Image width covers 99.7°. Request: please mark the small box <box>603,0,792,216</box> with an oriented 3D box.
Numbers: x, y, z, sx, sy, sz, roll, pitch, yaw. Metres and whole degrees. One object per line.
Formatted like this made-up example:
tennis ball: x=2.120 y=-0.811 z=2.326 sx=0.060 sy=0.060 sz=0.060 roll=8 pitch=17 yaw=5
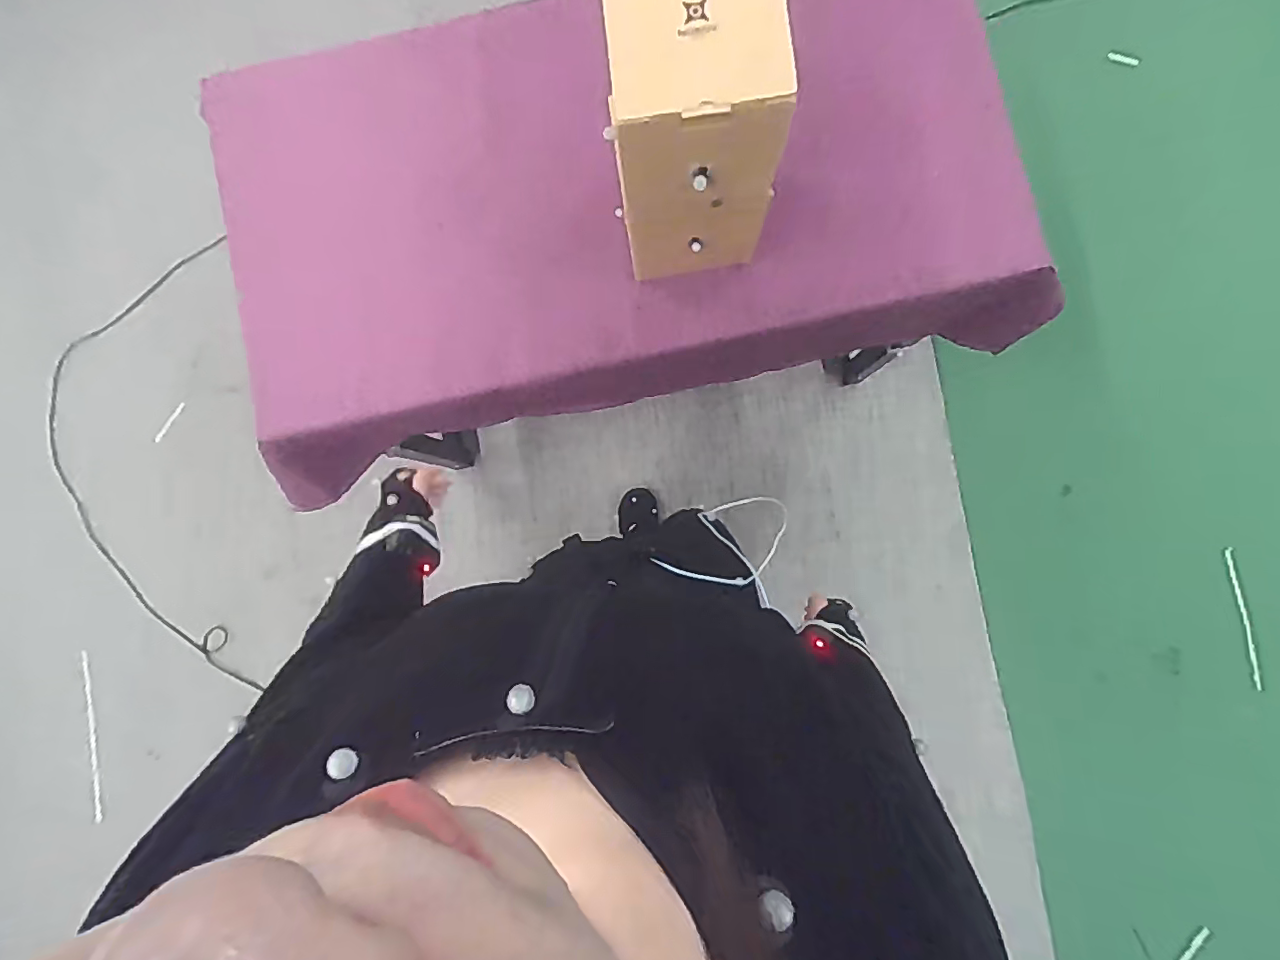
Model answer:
small box: x=0.055 y=-0.403 z=0.573 sx=0.168 sy=0.176 sz=0.179 roll=-5 pitch=86 yaw=2
